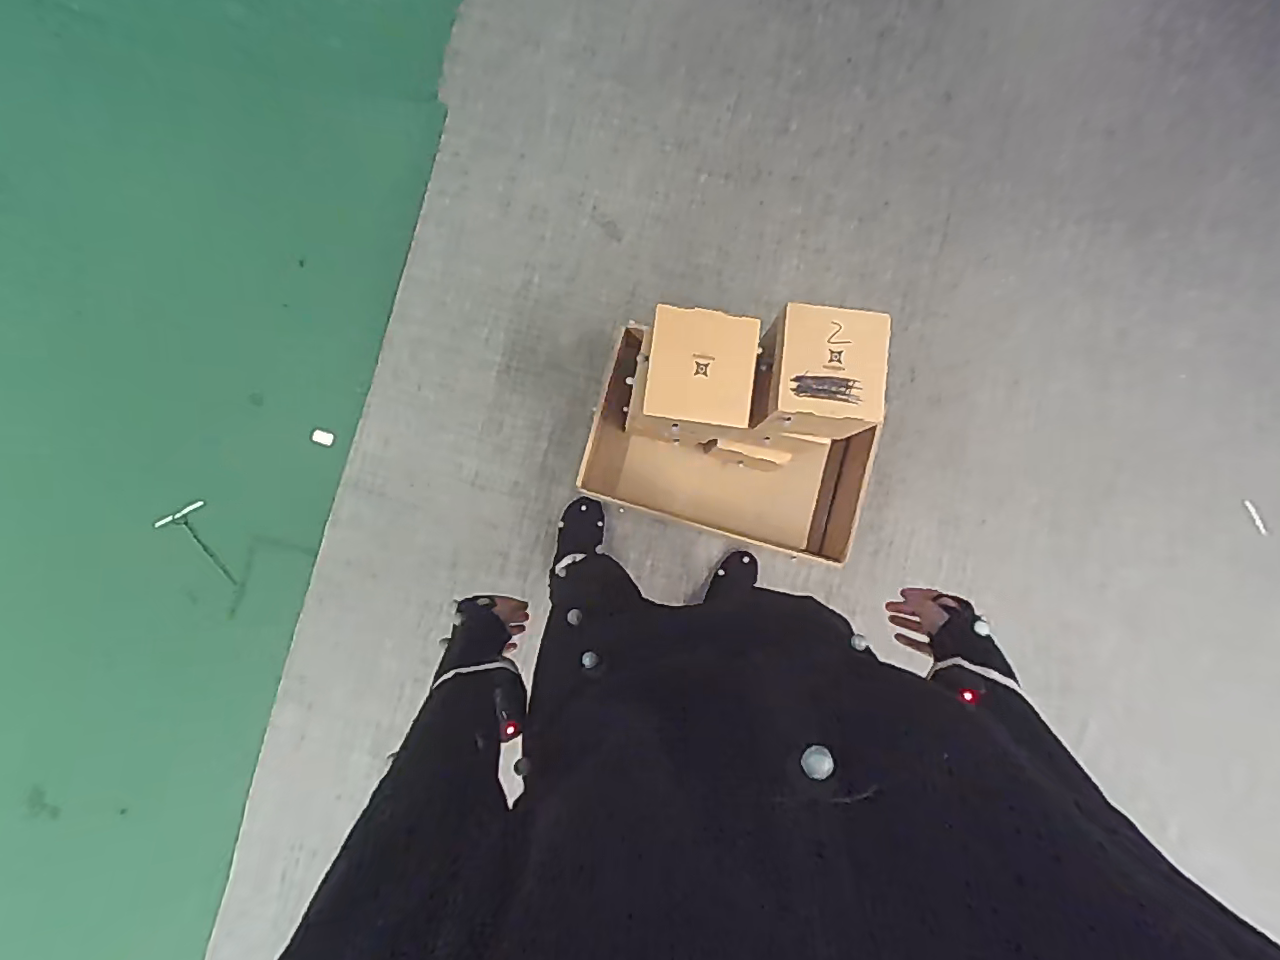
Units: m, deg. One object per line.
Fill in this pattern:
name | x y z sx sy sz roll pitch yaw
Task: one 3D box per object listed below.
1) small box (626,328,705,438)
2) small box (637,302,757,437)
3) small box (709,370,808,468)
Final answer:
small box | 0.073 -0.182 1.066 0.179 0.176 0.168 11 88 -1
small box | 0.087 -0.173 0.903 0.168 0.176 0.179 8 87 -2
small box | 0.262 -0.135 1.234 0.168 0.176 0.179 15 87 1
